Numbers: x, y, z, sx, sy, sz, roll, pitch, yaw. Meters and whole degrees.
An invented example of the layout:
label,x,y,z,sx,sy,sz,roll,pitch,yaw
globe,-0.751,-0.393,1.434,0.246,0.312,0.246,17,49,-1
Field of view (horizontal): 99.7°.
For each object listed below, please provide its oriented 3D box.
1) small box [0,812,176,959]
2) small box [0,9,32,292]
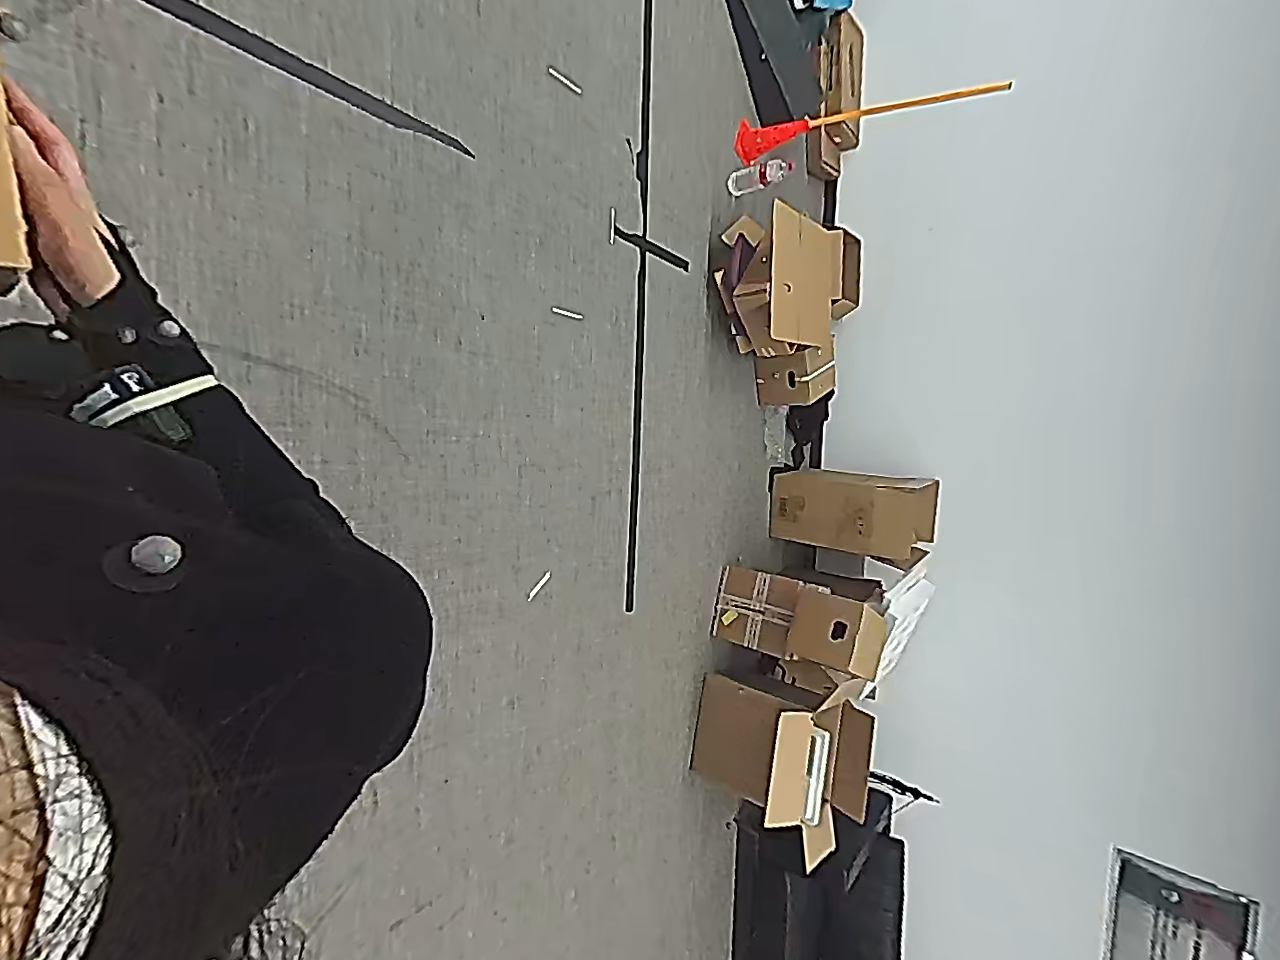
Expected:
label,x,y,z,sx,sy,sz,roll,pitch,yaw
small box,-0.650,0.529,0.614,0.168,0.176,0.179,-4,97,-50
small box,-0.441,-0.199,0.269,0.168,0.176,0.179,-11,103,-51
